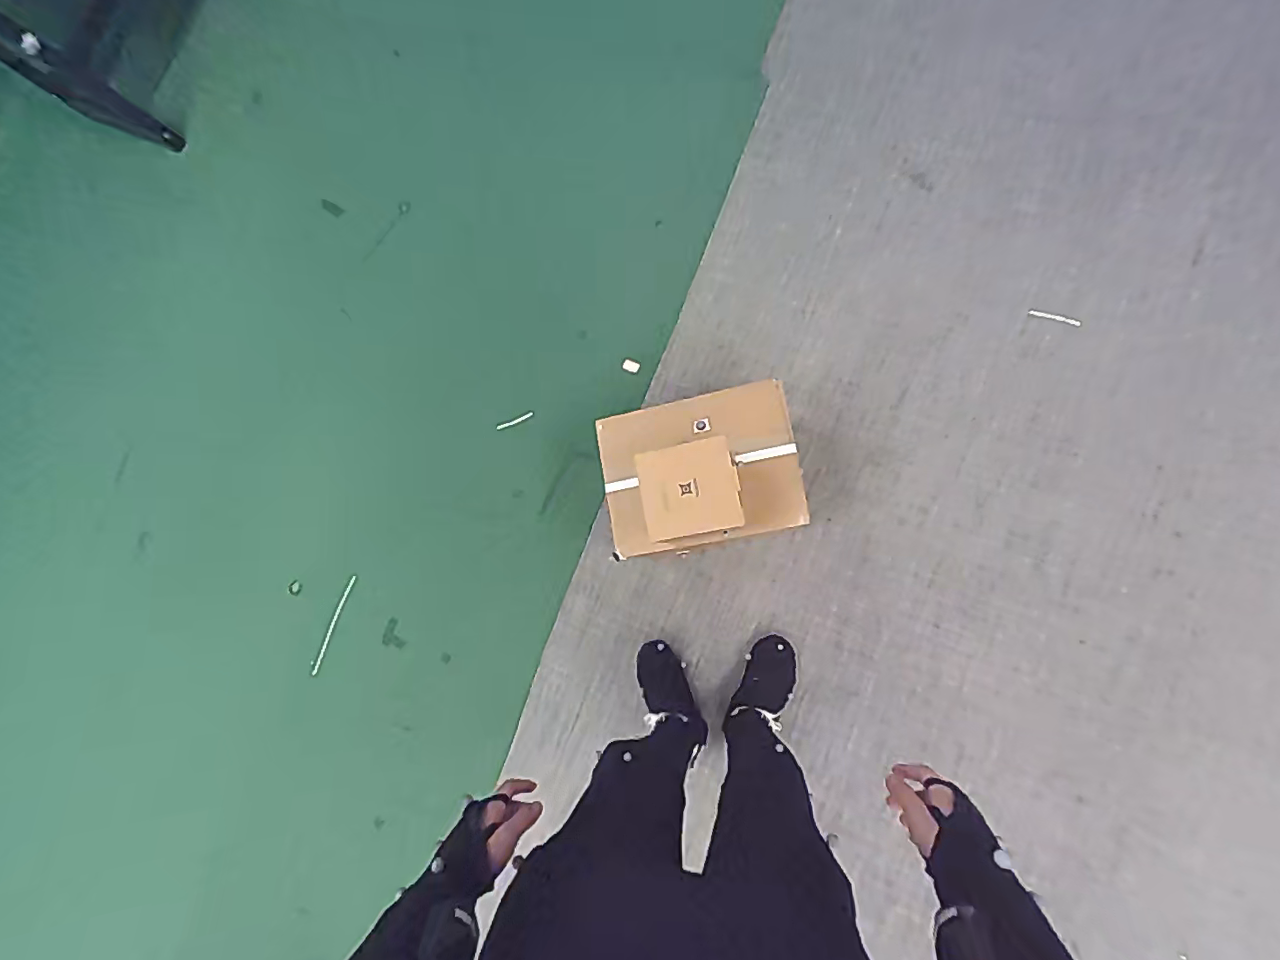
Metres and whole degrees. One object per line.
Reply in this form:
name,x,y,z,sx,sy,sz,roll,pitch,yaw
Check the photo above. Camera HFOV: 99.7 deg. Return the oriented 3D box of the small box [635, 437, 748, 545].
small box,0.104,0.027,1.023,0.179,0.176,0.168,-12,80,12
